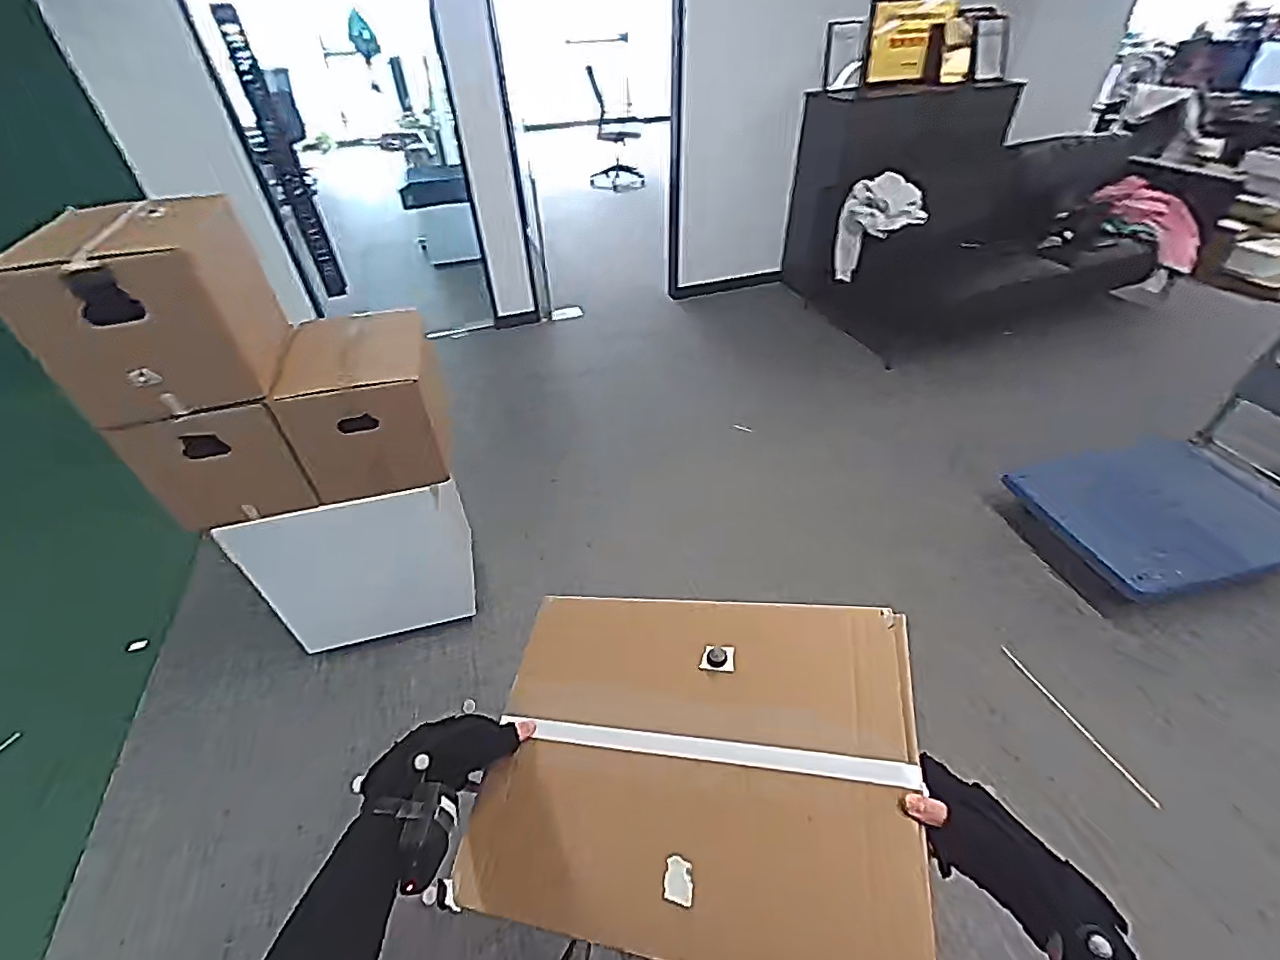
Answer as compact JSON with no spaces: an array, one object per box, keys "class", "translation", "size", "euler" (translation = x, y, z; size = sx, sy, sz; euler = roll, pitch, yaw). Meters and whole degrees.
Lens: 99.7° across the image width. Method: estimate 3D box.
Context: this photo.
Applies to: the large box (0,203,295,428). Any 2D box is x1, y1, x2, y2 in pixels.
[{"class":"large box","translation":[-0.992,-0.367,1.162],"size":[0.320,0.320,0.408],"euler":[-14,41,-14]}]
